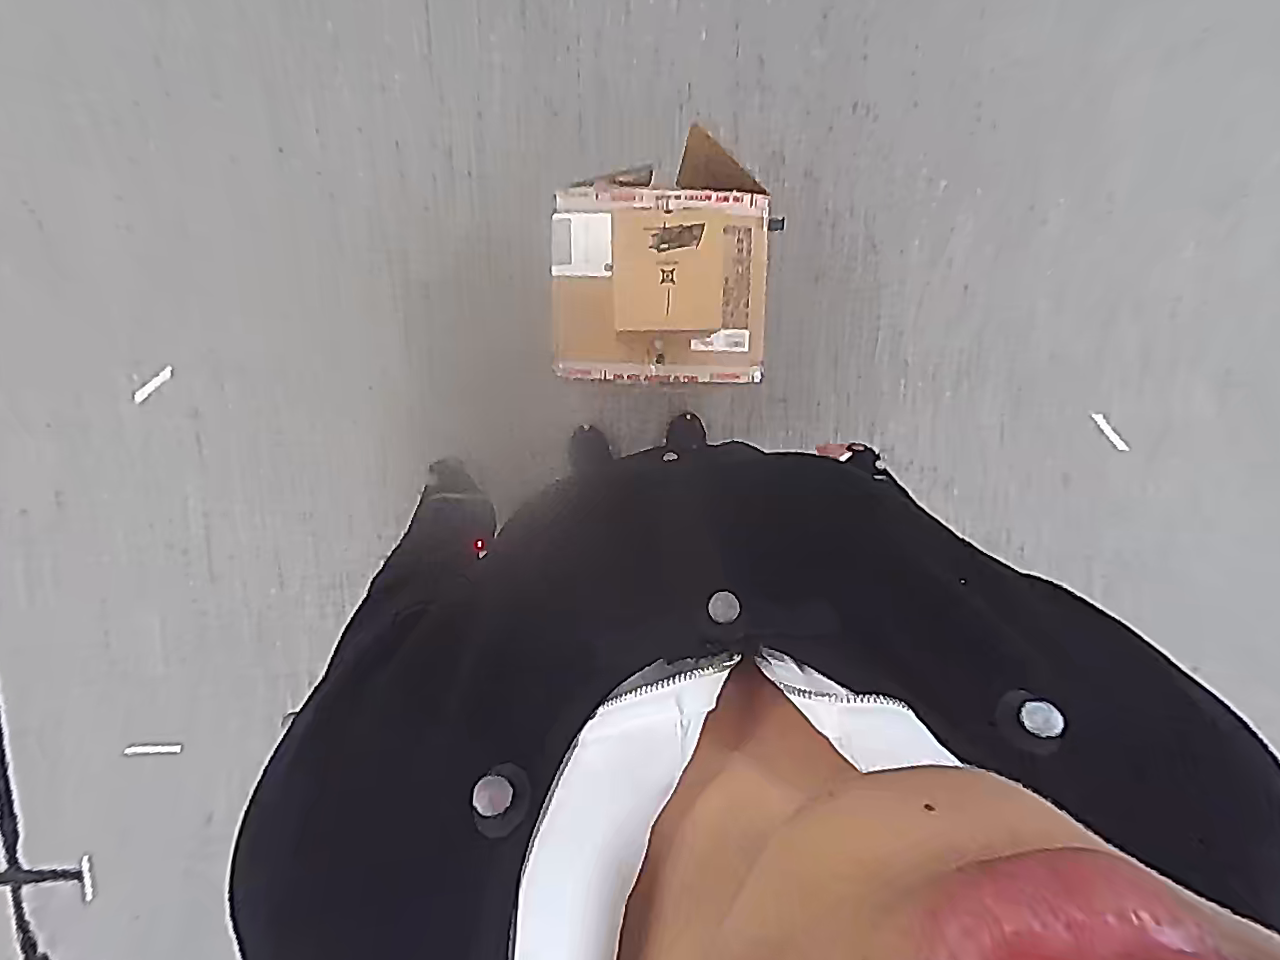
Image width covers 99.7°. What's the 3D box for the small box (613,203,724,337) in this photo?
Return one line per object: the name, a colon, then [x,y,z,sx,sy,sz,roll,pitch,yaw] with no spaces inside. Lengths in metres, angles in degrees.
small box: [0.039,-0.331,0.881,0.168,0.176,0.179,-1,100,-2]
